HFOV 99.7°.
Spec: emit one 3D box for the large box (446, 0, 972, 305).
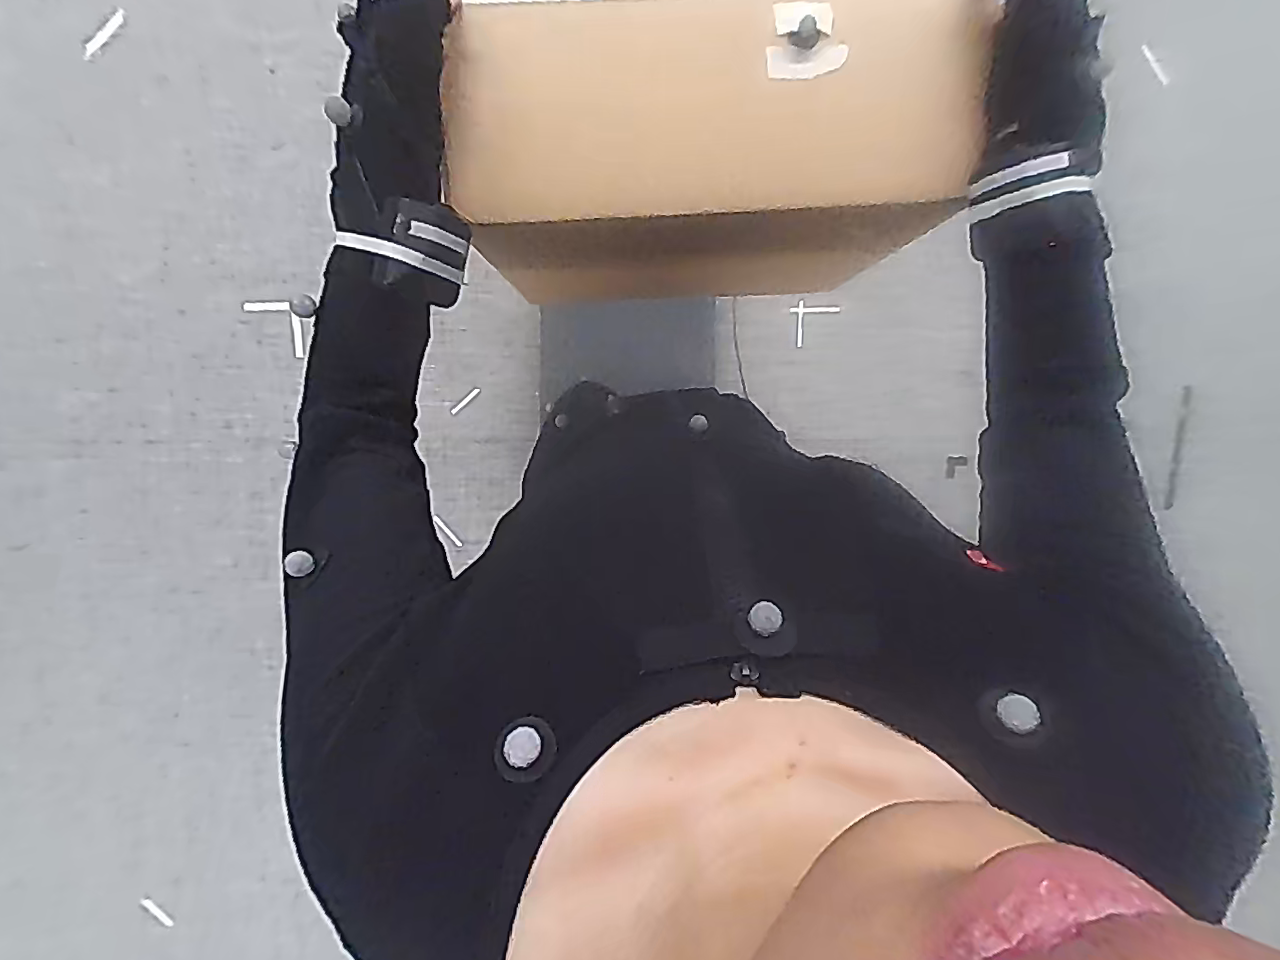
[{"bbox_3d":[0.048,-0.379,0.553,0.408,0.320,0.320,-3,97,0],"label":"large box"}]
